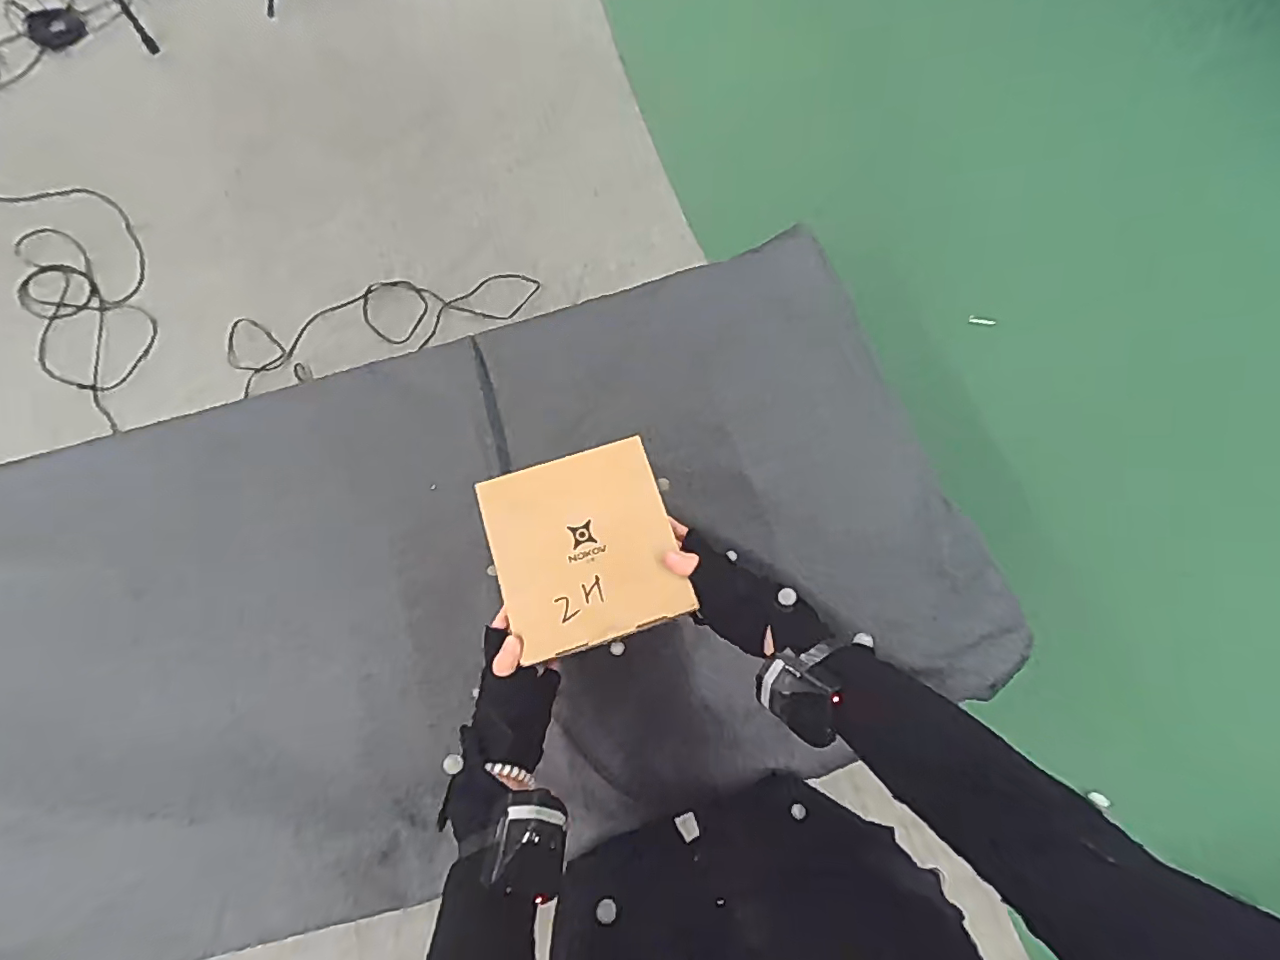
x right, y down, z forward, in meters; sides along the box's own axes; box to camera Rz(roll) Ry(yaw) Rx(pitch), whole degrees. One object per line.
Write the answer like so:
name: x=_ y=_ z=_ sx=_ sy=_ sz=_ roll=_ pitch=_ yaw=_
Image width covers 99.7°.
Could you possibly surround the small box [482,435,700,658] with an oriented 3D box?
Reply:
small box: x=-0.051 y=0.079 z=0.570 sx=0.168 sy=0.176 sz=0.179 roll=-17 pitch=74 yaw=-6
